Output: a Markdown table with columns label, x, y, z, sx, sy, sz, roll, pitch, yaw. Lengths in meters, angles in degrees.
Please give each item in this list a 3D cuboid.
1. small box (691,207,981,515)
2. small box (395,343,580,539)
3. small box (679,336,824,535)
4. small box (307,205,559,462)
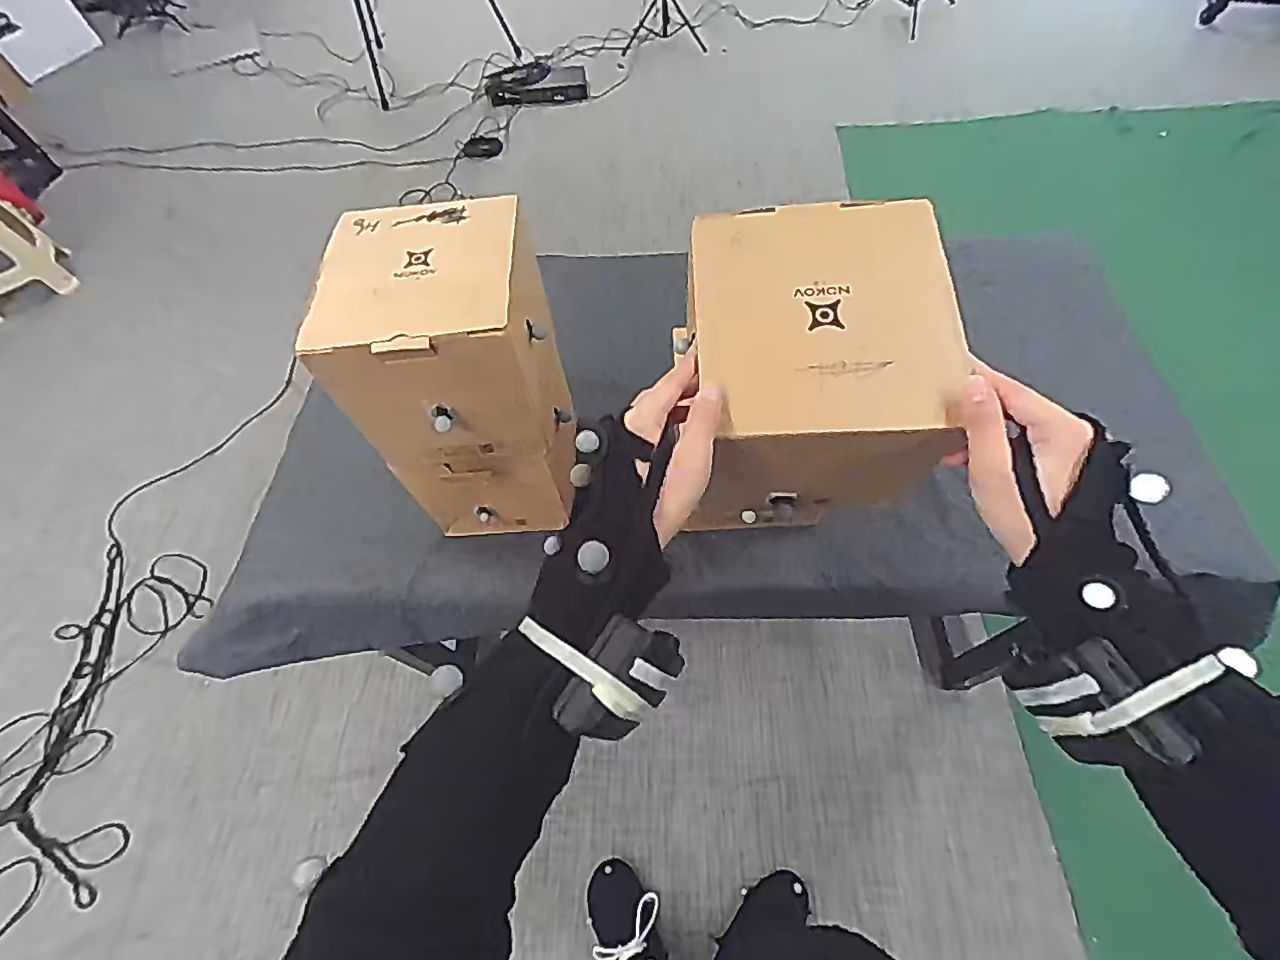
| label | x | y | z | sx | sy | sz | roll | pitch | yaw |
| --- | --- | --- | --- | --- | --- | --- | --- | --- | --- |
| small box | 0.126 | -0.080 | 0.427 | 0.168 | 0.176 | 0.179 | -2 | 70 | 4 |
| small box | -0.168 | -0.044 | 0.662 | 0.168 | 0.176 | 0.179 | -4 | 58 | 2 |
| small box | 0.130 | -0.051 | 0.636 | 0.168 | 0.176 | 0.179 | -3 | 58 | 4 |
| small box | -0.175 | -0.129 | 0.521 | 0.168 | 0.176 | 0.179 | -5 | 59 | 1 |
